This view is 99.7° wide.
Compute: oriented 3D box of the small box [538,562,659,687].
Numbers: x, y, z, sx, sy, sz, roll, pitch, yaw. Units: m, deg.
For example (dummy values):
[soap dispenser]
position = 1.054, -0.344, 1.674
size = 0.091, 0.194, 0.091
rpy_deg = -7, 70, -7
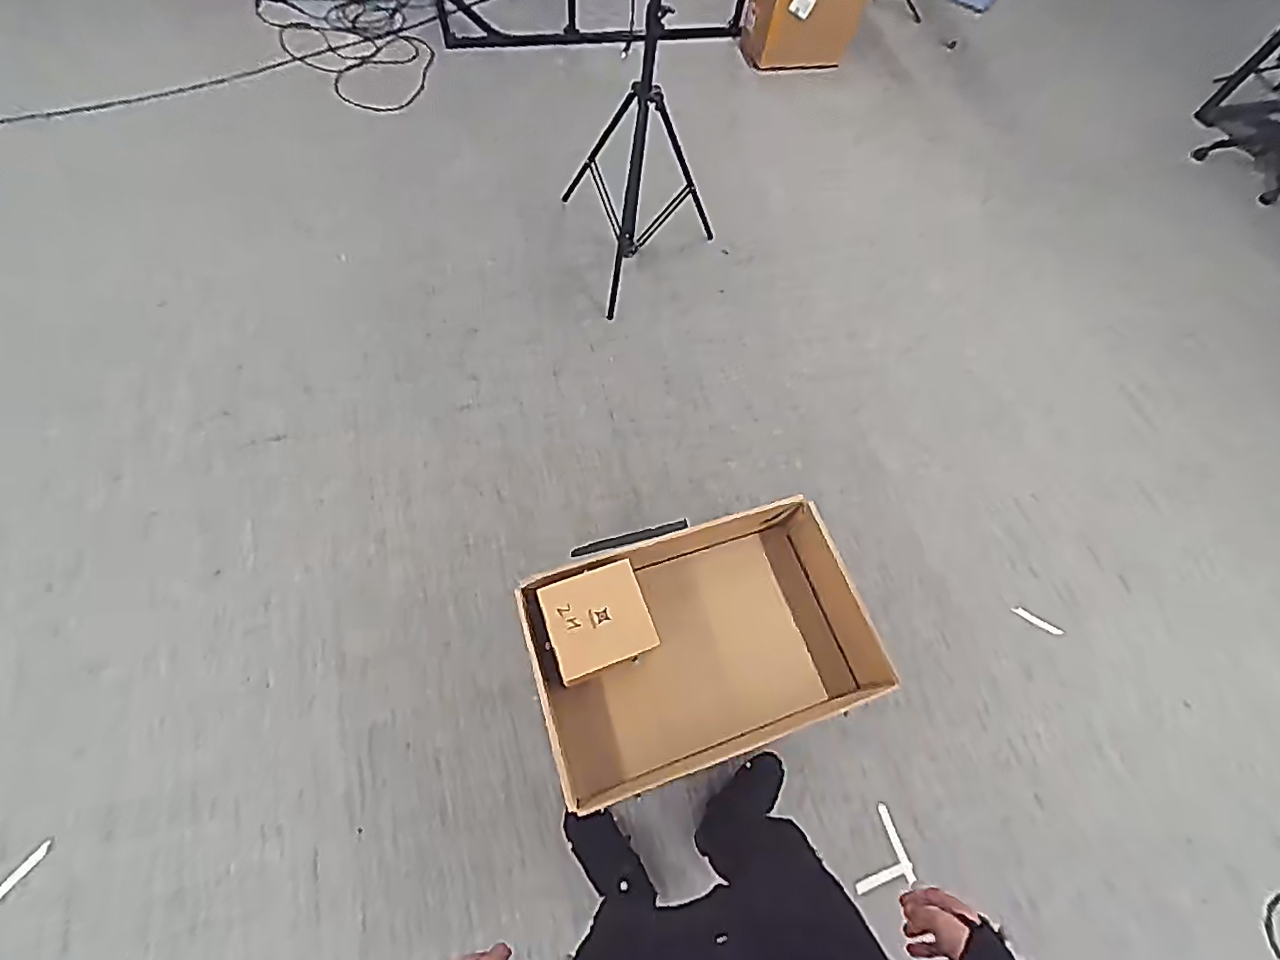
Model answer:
[small box]
position = -0.081, 0.273, 1.008
size = 0.179, 0.176, 0.168
rpy_deg = -17, 68, -13
